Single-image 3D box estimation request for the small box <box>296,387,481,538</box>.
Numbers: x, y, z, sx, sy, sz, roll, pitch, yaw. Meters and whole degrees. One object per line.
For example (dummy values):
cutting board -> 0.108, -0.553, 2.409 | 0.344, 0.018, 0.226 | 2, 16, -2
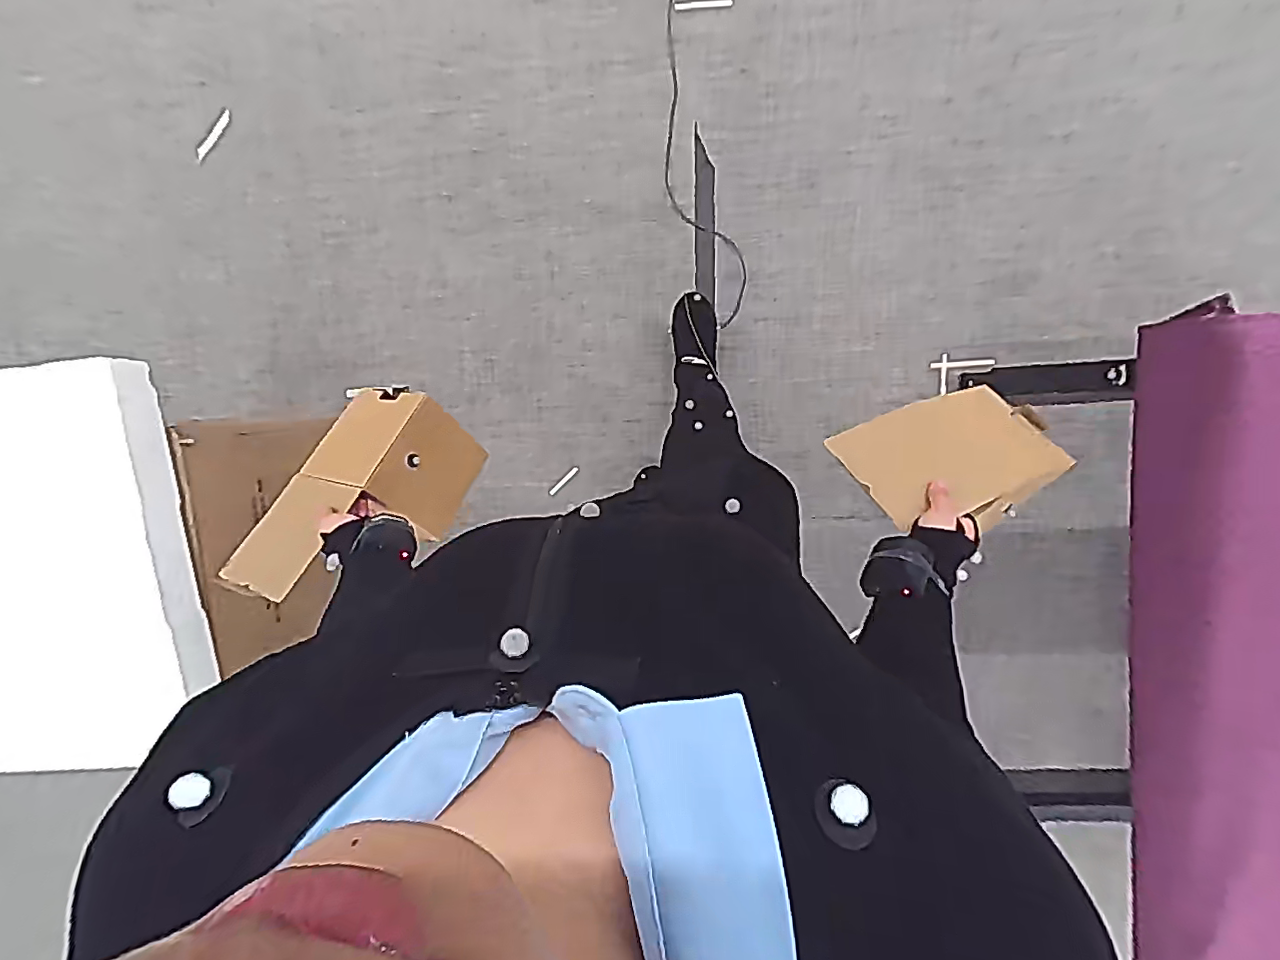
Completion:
small box -> -0.389, -0.026, 0.868 | 0.168, 0.176, 0.179 | 9, 61, 29
